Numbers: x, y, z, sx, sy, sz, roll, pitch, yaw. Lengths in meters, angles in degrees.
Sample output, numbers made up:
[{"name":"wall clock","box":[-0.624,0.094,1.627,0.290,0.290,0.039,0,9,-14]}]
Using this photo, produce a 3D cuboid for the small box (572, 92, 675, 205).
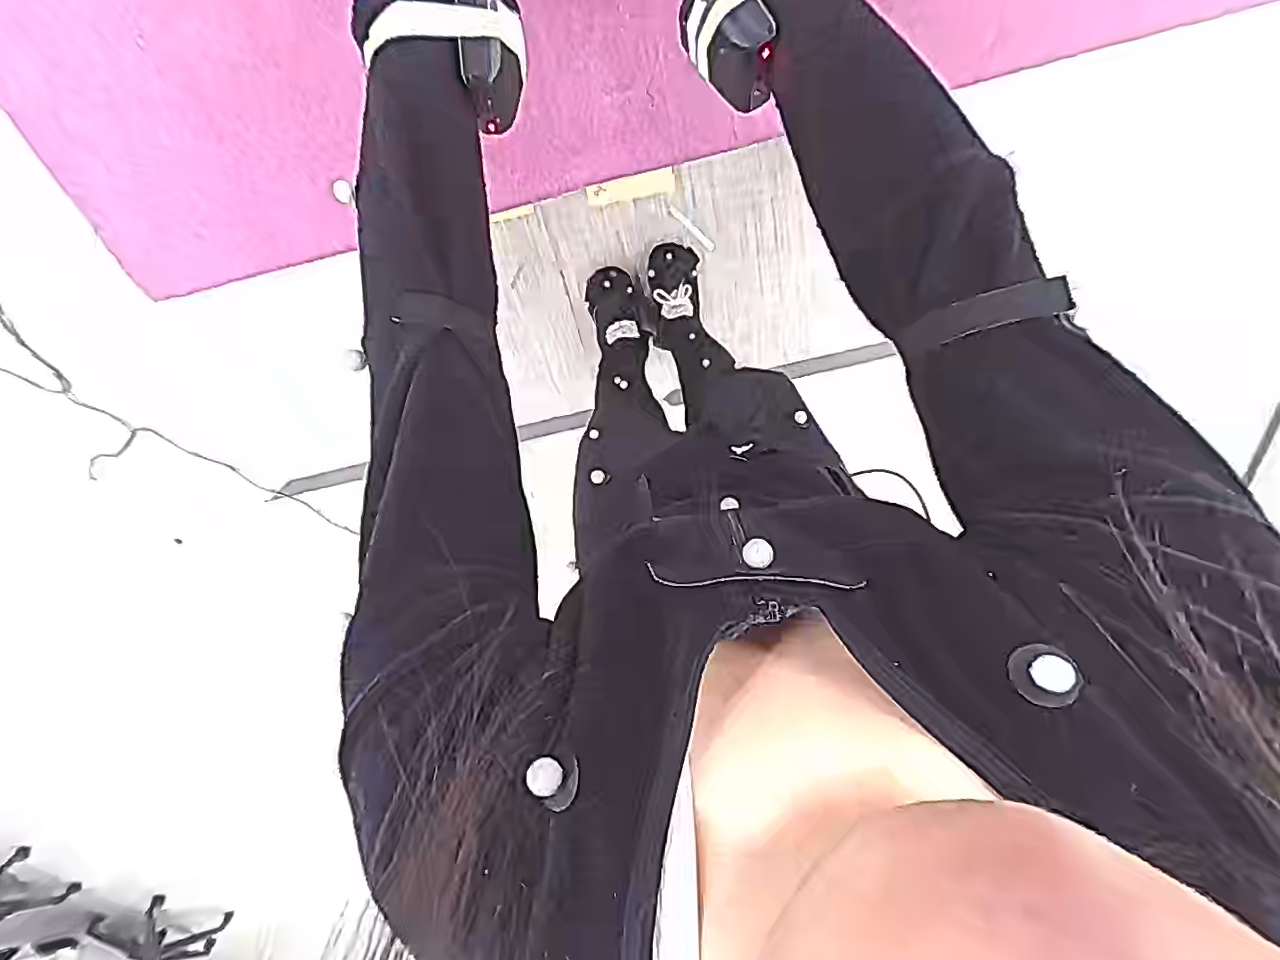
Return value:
[{"name":"small box","box":[-0.036,-0.666,1.083,0.179,0.176,0.168,-10,124,0]}]

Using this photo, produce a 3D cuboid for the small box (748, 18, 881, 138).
[{"name":"small box","box":[0.327,-0.775,1.052,0.179,0.176,0.168,1,124,-6]}]
